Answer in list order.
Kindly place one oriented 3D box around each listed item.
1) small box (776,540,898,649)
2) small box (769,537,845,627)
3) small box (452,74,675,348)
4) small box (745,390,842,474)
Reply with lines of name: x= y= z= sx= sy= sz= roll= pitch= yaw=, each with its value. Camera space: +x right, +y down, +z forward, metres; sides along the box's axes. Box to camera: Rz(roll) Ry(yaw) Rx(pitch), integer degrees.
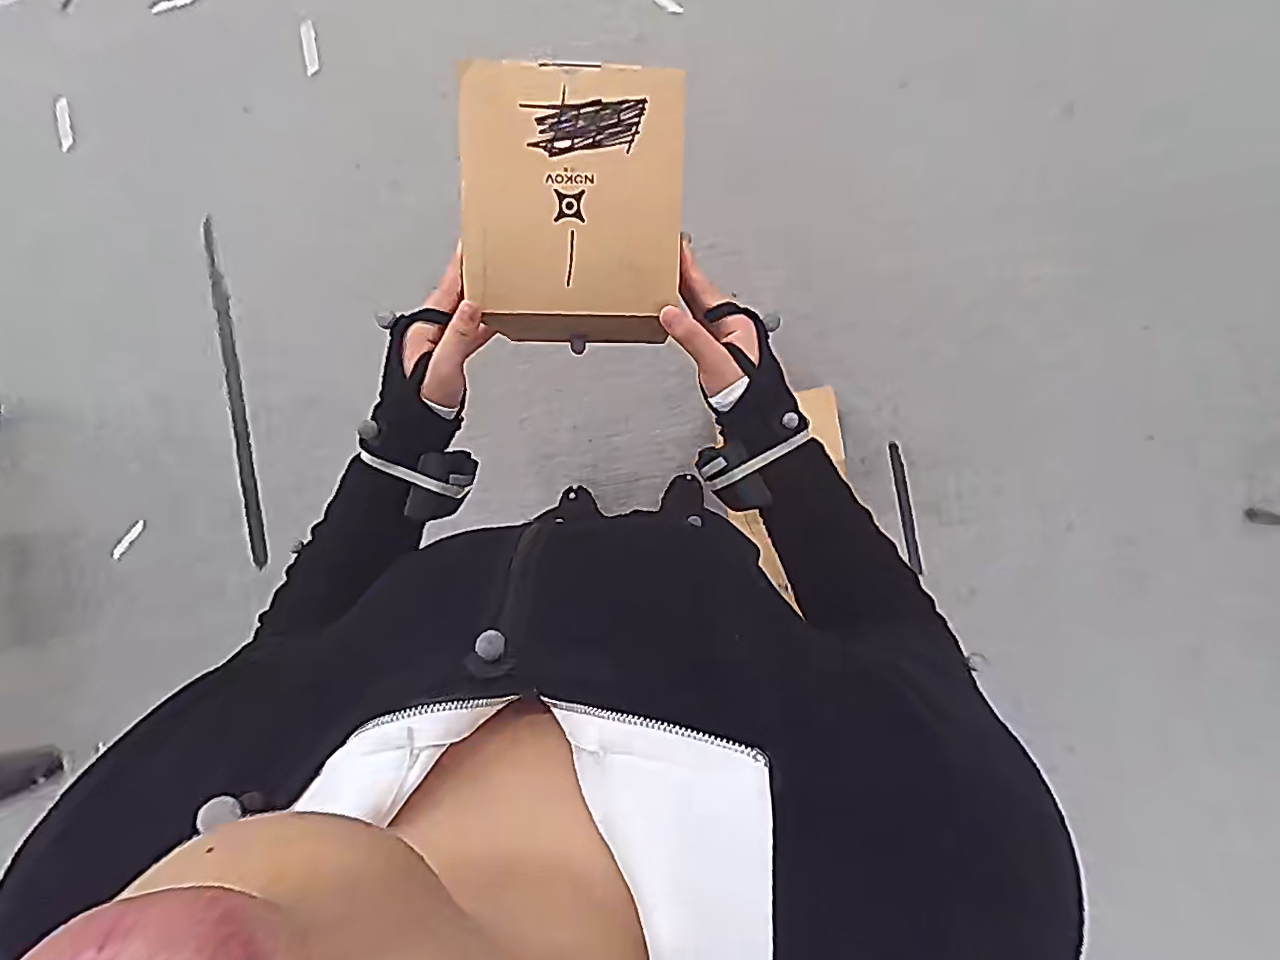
small box: x=0.398 y=0.228 z=1.119 sx=0.179 sy=0.176 sz=0.168 roll=-14 pitch=89 yaw=5
small box: x=0.411 y=0.235 z=1.282 sx=0.179 sy=0.176 sz=0.168 roll=-11 pitch=90 yaw=5
small box: x=-0.058 y=-0.218 z=0.483 sx=0.168 sy=0.176 sz=0.179 roll=-1 pitch=97 yaw=-1
small box: x=0.355 y=-0.110 z=1.276 sx=0.179 sy=0.176 sz=0.168 roll=-9 pitch=91 yaw=4
